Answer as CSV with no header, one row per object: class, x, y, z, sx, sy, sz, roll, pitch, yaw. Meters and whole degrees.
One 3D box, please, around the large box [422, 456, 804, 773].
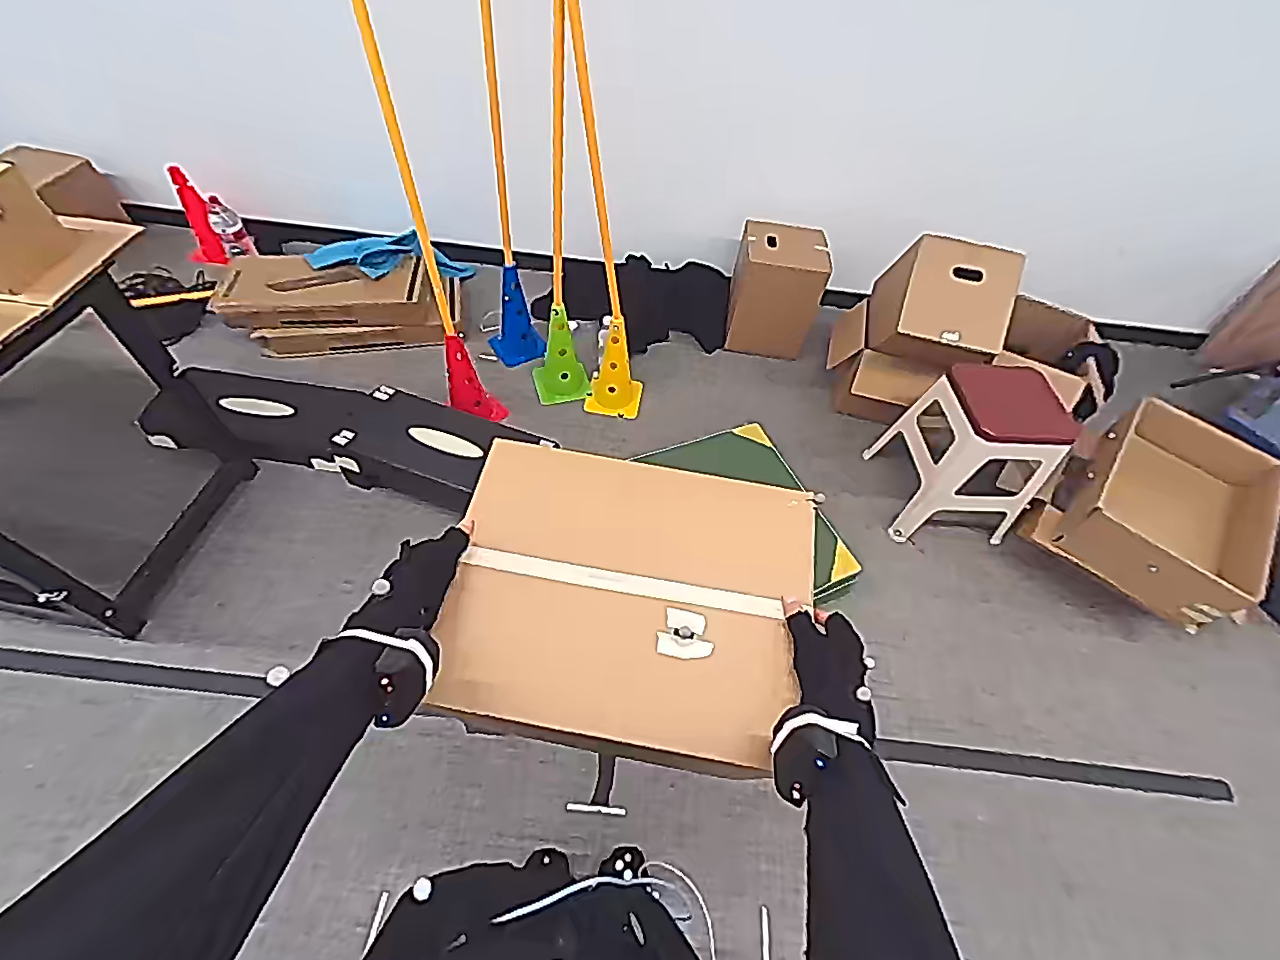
large box,-0.019,0.201,0.750,0.408,0.320,0.320,10,62,1
